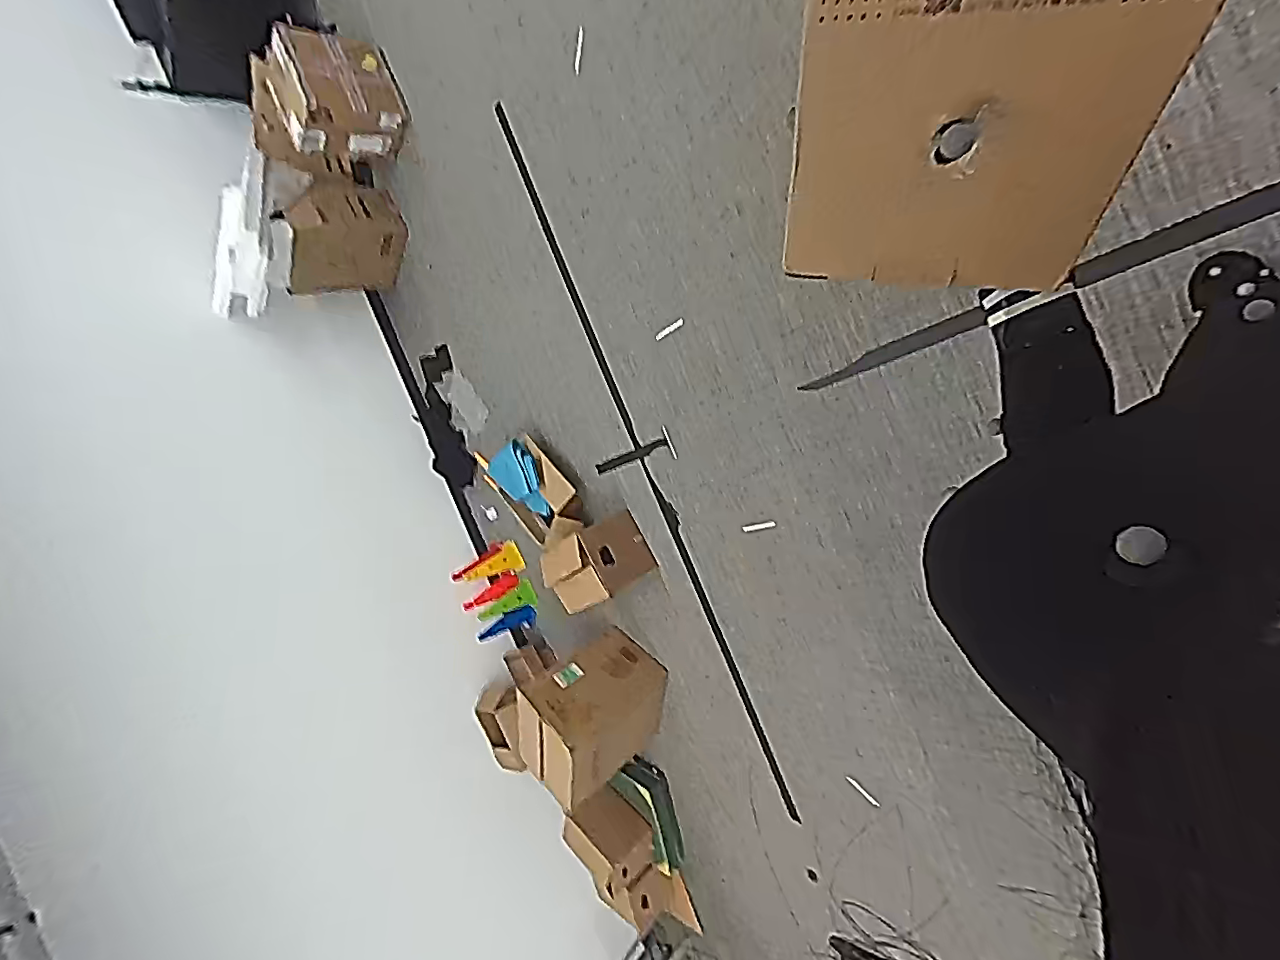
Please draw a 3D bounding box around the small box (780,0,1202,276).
[{"bbox_3d":[0.181,-0.245,0.310,0.168,0.179,0.176,12,147,17],"label":"small box"}]
